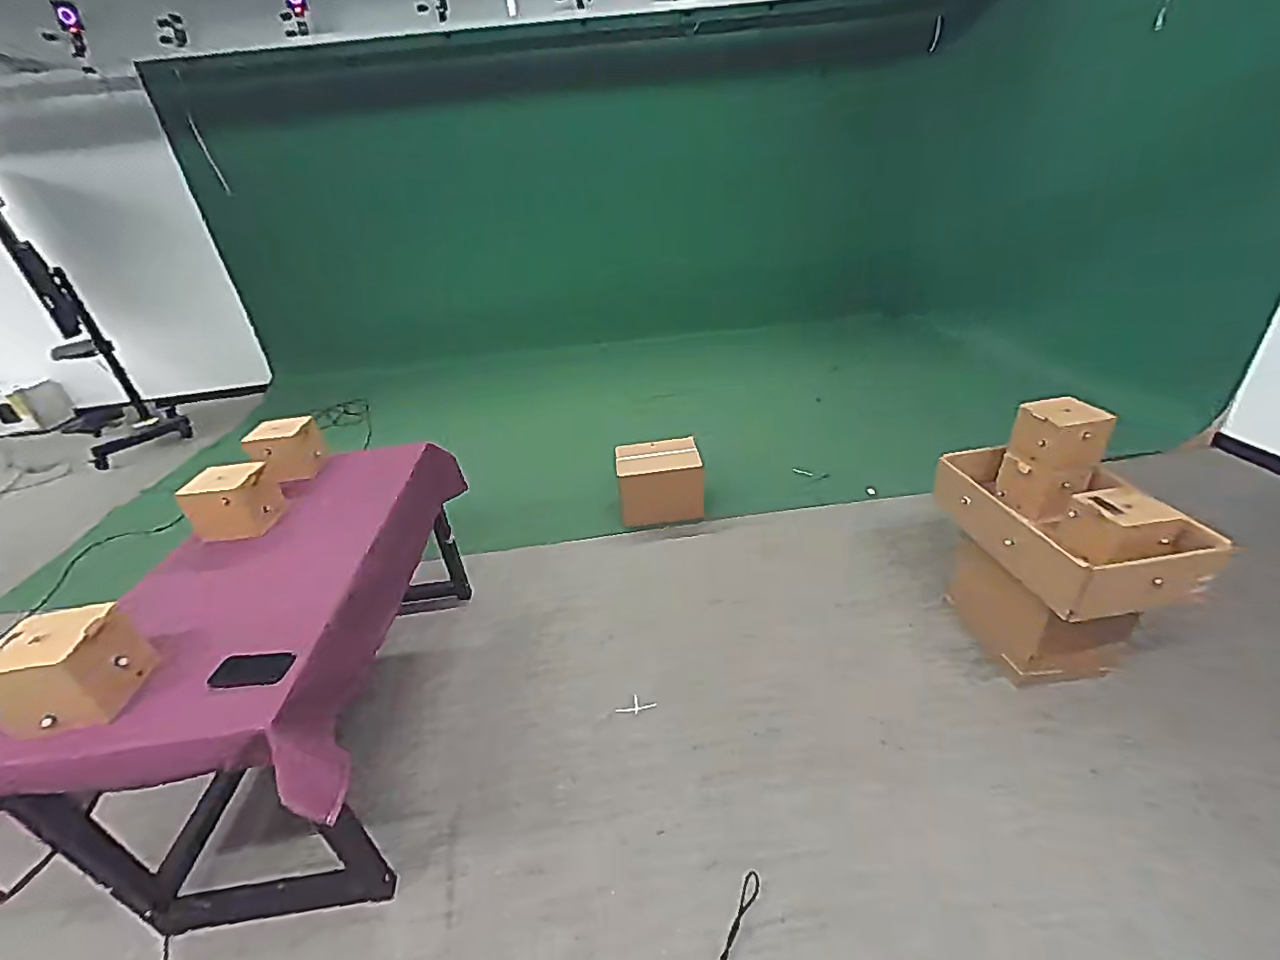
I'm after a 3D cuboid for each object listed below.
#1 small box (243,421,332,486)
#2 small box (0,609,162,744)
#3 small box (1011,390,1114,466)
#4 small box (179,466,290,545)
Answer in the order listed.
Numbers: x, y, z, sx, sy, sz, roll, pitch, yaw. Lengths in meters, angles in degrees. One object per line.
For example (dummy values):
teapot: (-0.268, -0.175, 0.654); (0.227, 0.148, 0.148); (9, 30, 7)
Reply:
small box: (-1.227, -0.090, 1.895); (0.179, 0.176, 0.168); (-8, 31, -2)
small box: (-1.114, 0.386, 1.068); (0.179, 0.176, 0.168); (-10, 29, -7)
small box: (1.276, -0.158, 1.652); (0.179, 0.176, 0.168); (-10, 32, -6)
small box: (-1.197, 0.079, 1.611); (0.179, 0.176, 0.168); (-7, 30, -1)
